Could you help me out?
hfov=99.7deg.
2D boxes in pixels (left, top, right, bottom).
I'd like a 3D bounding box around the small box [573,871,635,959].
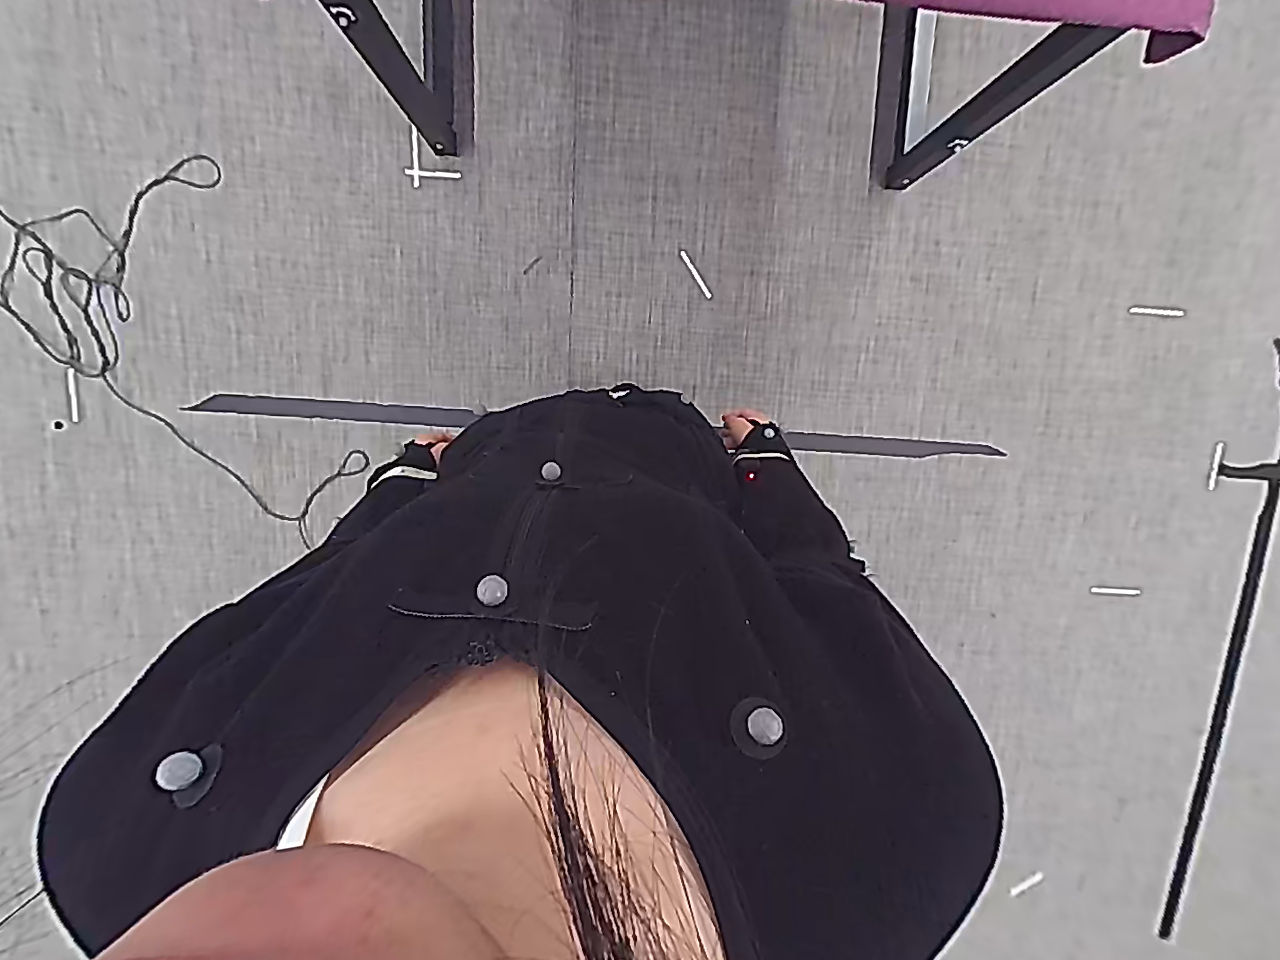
[{"bbox_3d":[-0.107,1.310,1.612,0.168,0.176,0.179,5,100,-2],"label":"small box"}]
